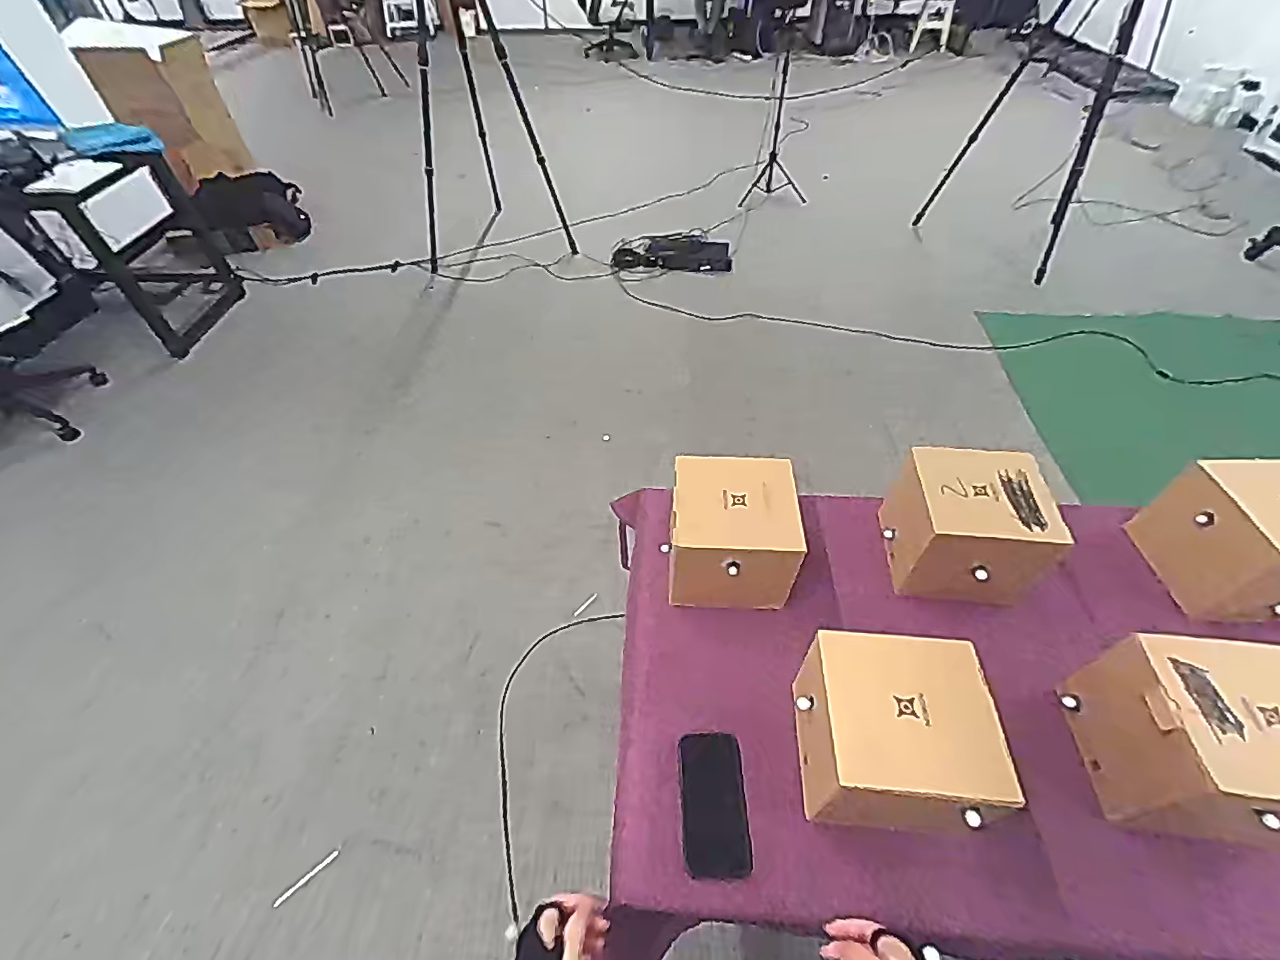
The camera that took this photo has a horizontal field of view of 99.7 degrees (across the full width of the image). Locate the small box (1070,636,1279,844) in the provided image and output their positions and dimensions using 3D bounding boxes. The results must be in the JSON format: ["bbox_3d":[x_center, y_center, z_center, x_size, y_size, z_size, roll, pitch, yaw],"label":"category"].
[{"bbox_3d":[0.641,0.298,0.617,0.179,0.176,0.168,5,49,5],"label":"small box"}]

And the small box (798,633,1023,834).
[{"bbox_3d":[0.288,0.297,0.630,0.179,0.176,0.168,4,48,4],"label":"small box"}]

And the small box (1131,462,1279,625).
[{"bbox_3d":[0.889,0.092,0.789,0.168,0.176,0.179,0,49,2],"label":"small box"}]
